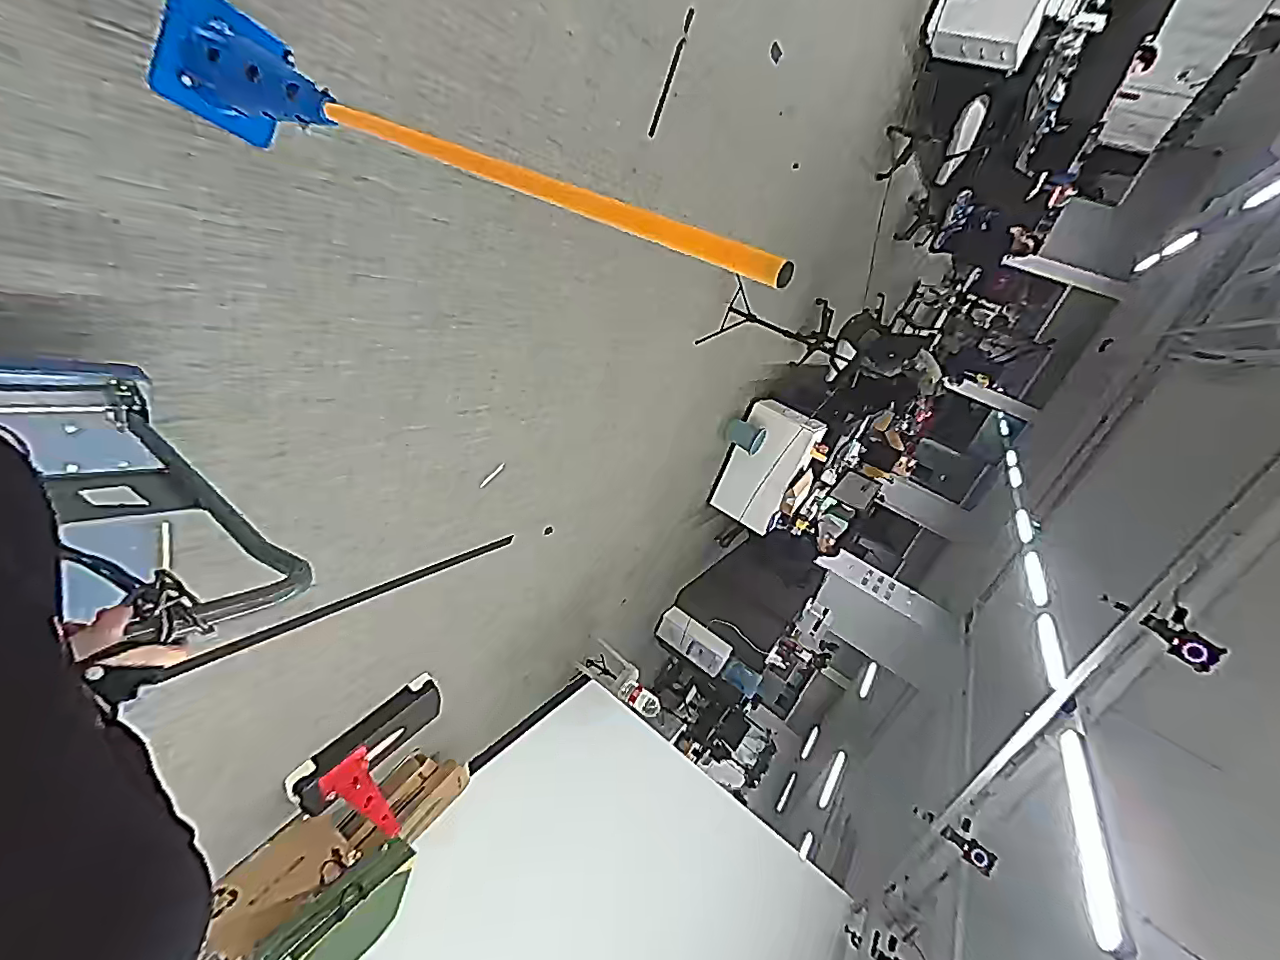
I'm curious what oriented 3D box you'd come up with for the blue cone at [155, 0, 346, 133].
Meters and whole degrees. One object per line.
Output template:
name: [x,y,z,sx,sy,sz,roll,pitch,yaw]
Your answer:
blue cone: [-0.630,-0.690,0.927,0.192,0.380,0.193,-63,156,9]
